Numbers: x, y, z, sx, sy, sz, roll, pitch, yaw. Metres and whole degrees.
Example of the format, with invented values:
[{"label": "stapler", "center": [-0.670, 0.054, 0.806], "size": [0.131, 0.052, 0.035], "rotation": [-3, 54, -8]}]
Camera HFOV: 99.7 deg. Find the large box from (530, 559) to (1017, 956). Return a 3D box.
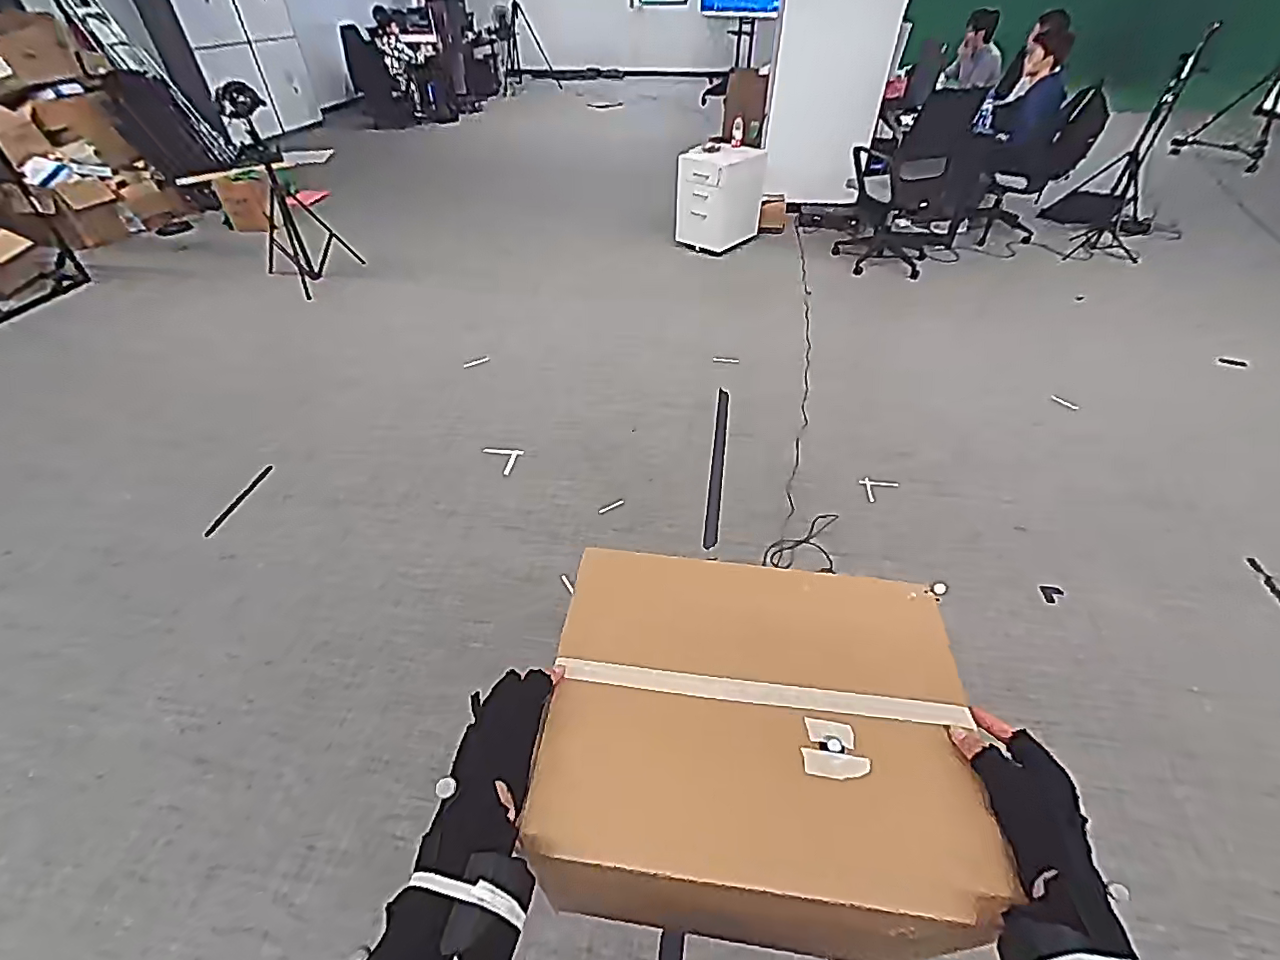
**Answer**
[{"label": "large box", "center": [0.117, 0.325, 0.647], "size": [0.408, 0.320, 0.320], "rotation": [6, 46, 5]}]
